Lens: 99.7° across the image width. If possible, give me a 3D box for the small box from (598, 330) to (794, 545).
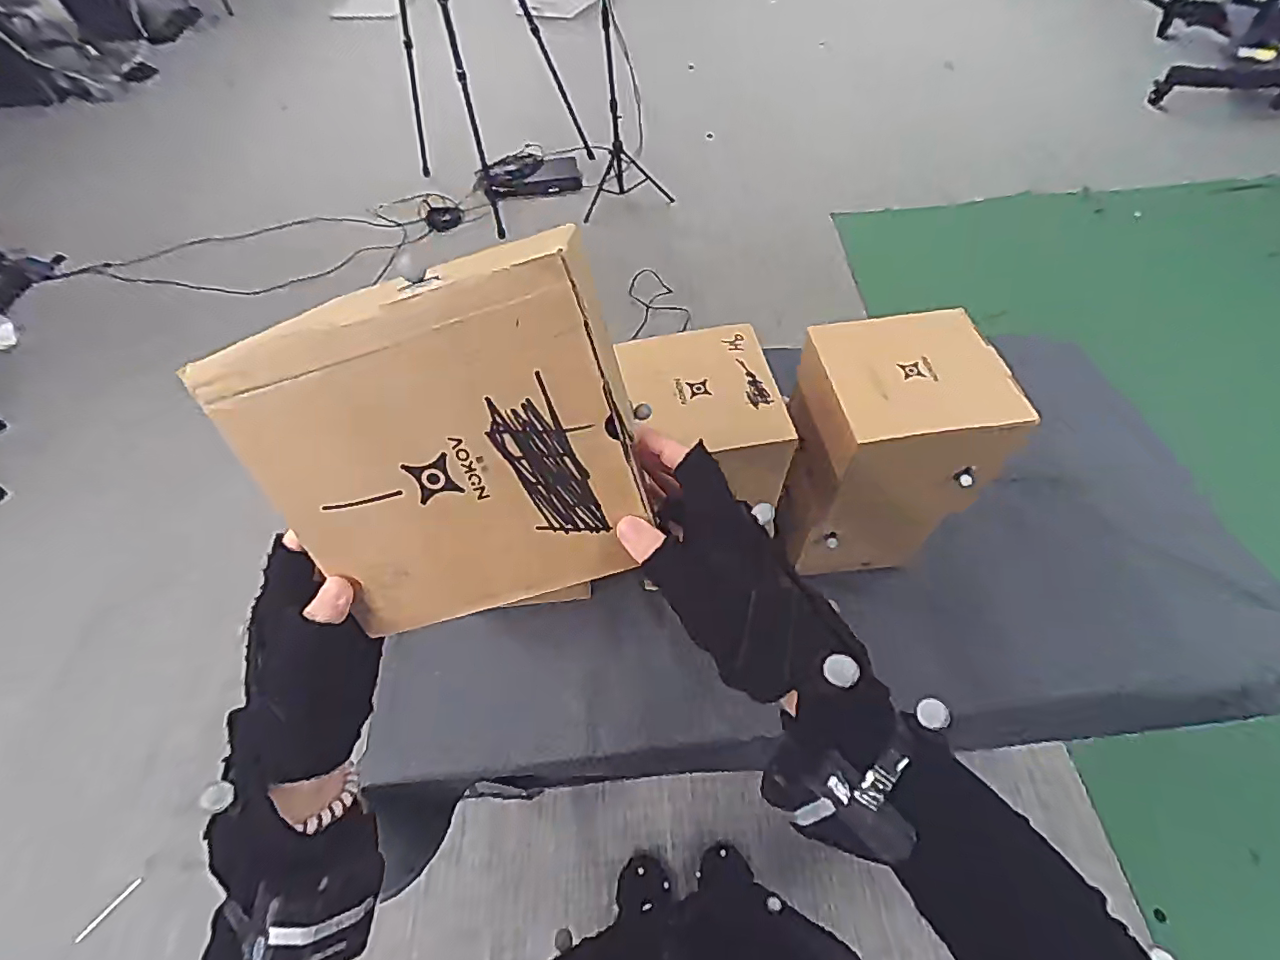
[{"bbox_3d":[0.057,-0.041,0.621,0.179,0.176,0.168,-10,57,-2],"label":"small box"}]
